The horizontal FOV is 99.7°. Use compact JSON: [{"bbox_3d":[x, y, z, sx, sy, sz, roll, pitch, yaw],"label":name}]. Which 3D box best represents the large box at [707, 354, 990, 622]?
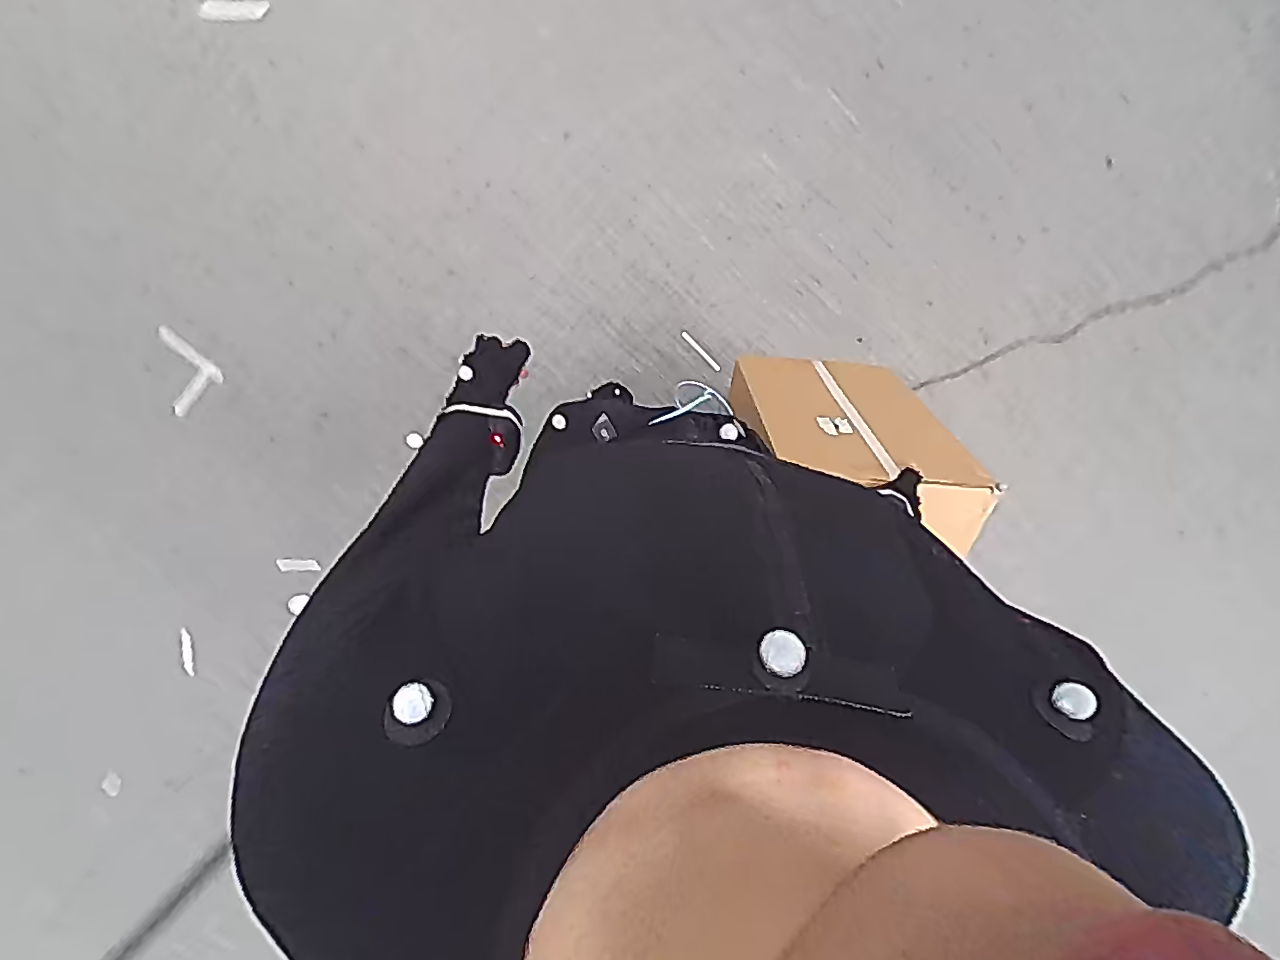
[{"bbox_3d":[0.322,0.001,0.994,0.320,0.408,0.320,2,127,-4],"label":"large box"}]
